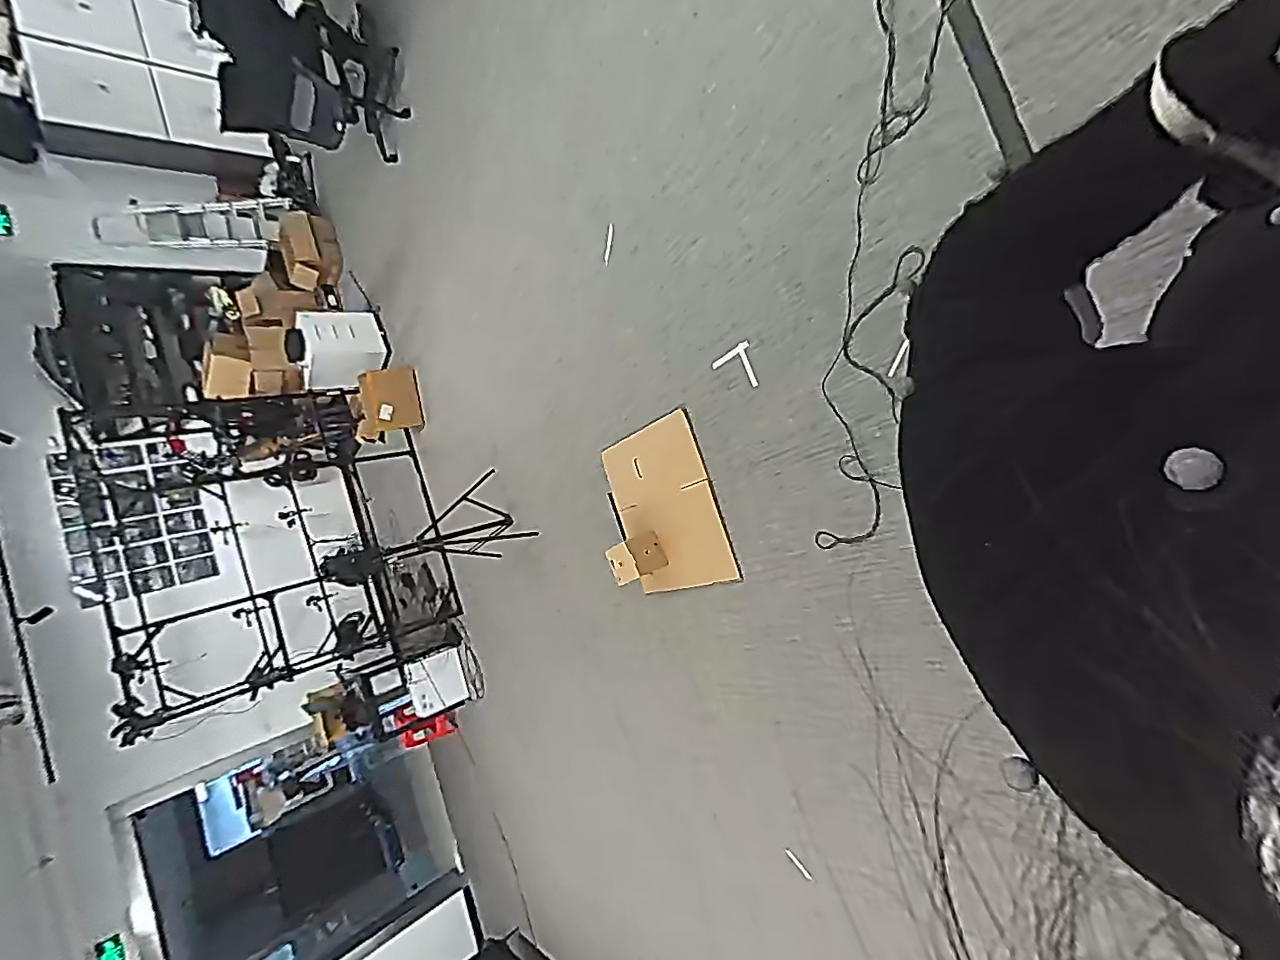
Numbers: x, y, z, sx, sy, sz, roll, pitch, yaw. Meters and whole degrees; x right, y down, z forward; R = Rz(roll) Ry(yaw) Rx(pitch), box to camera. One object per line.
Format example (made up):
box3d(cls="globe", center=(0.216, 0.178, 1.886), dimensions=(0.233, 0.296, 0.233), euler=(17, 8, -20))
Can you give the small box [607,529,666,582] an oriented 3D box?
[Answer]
box3d(cls="small box", center=(-0.009, 0.326, 2.355), dimensions=(0.179, 0.176, 0.168), euler=(-35, 75, 49))
